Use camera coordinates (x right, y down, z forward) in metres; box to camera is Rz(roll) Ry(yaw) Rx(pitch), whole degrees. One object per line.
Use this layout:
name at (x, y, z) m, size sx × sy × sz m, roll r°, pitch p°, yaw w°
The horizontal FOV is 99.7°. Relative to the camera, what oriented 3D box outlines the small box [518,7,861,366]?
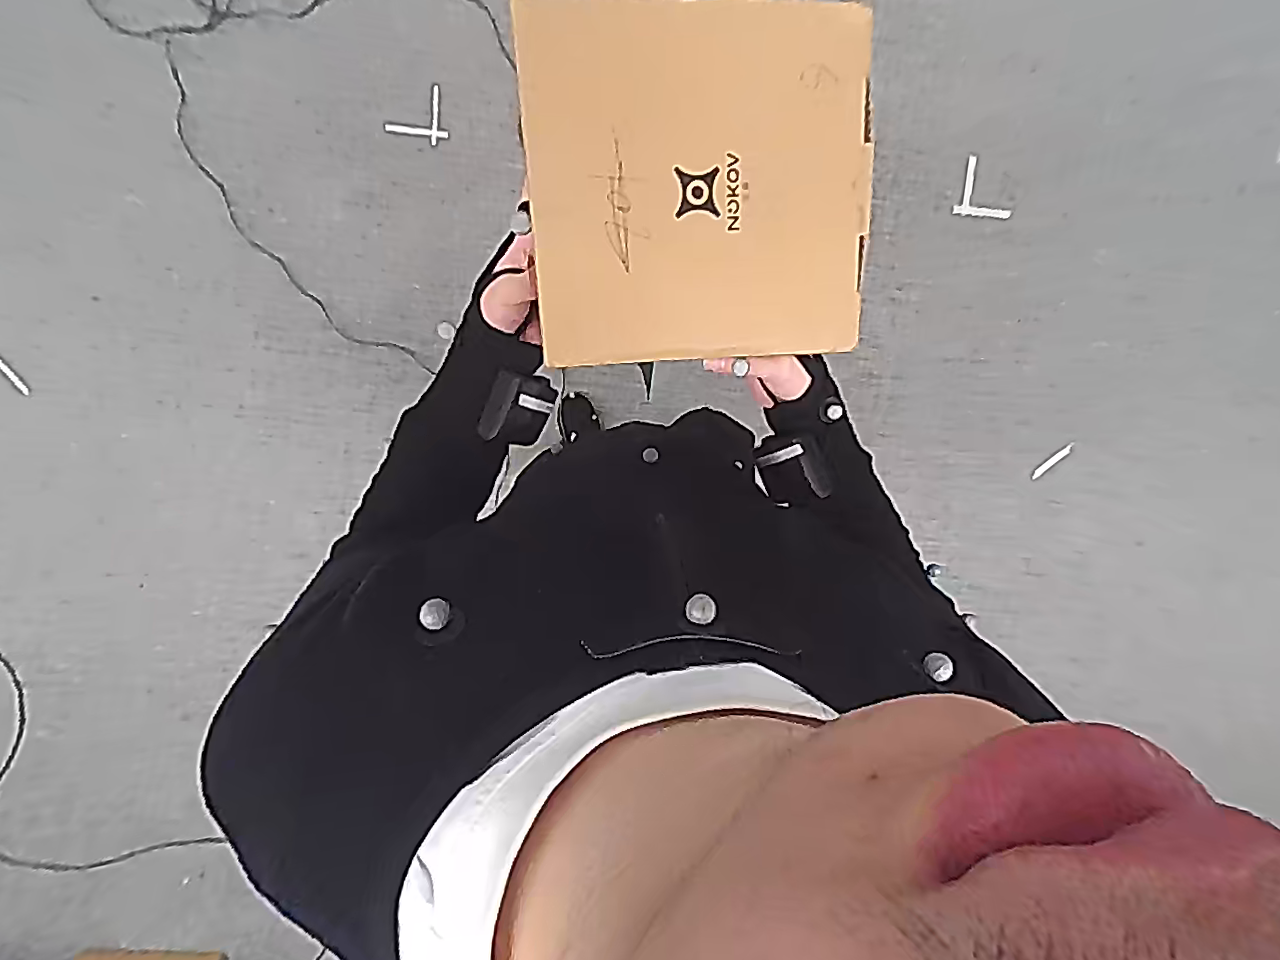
small box at (0.019, -0.166, 0.359) m, size 0.179 × 0.176 × 0.168 m, roll -5°, pitch 104°, yaw -7°
